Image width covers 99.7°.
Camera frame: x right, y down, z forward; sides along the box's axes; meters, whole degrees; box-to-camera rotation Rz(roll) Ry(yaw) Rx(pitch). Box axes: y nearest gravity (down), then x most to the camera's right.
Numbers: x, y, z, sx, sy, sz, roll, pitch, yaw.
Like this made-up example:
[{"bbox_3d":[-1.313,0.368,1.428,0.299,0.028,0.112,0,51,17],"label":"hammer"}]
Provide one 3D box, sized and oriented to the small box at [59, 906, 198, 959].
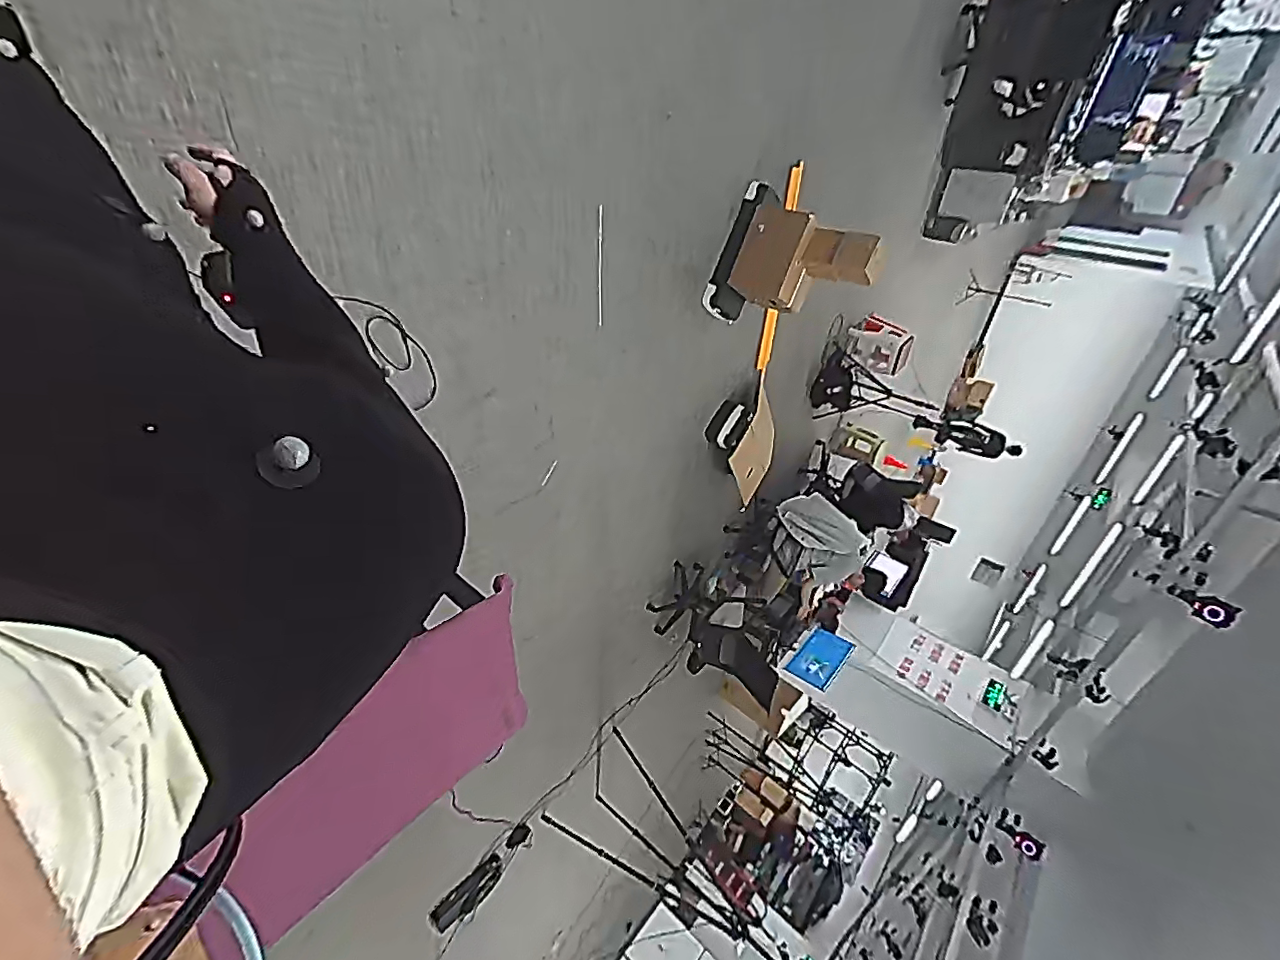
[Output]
[{"bbox_3d":[-0.914,0.899,0.938,0.179,0.176,0.168,-55,149,-14],"label":"small box"}]
